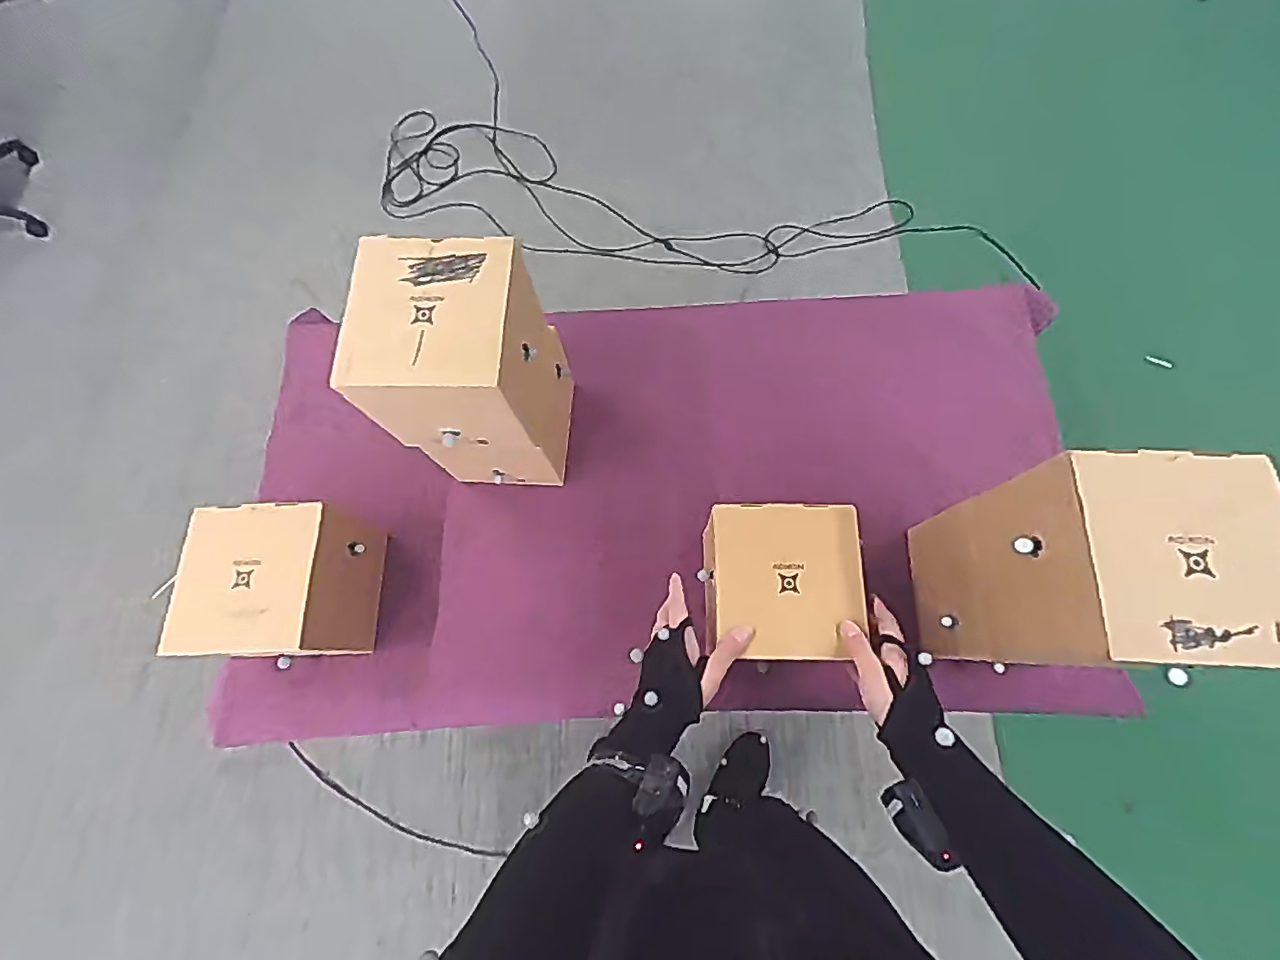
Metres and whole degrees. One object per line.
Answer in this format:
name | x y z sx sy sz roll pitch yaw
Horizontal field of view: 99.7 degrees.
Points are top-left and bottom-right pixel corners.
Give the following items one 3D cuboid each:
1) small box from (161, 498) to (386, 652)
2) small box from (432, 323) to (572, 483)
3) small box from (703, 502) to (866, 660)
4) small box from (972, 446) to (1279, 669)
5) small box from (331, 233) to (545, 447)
small box | -0.458 0.131 0.709 0.168 0.176 0.179 -2 72 2
small box | -0.195 -0.107 0.772 0.168 0.176 0.179 3 74 4
small box | 0.168 0.132 0.684 0.168 0.176 0.179 0 72 3
small box | 0.444 0.081 0.510 0.168 0.176 0.179 2 72 5
small box | -0.208 -0.149 0.613 0.168 0.176 0.179 1 74 3
